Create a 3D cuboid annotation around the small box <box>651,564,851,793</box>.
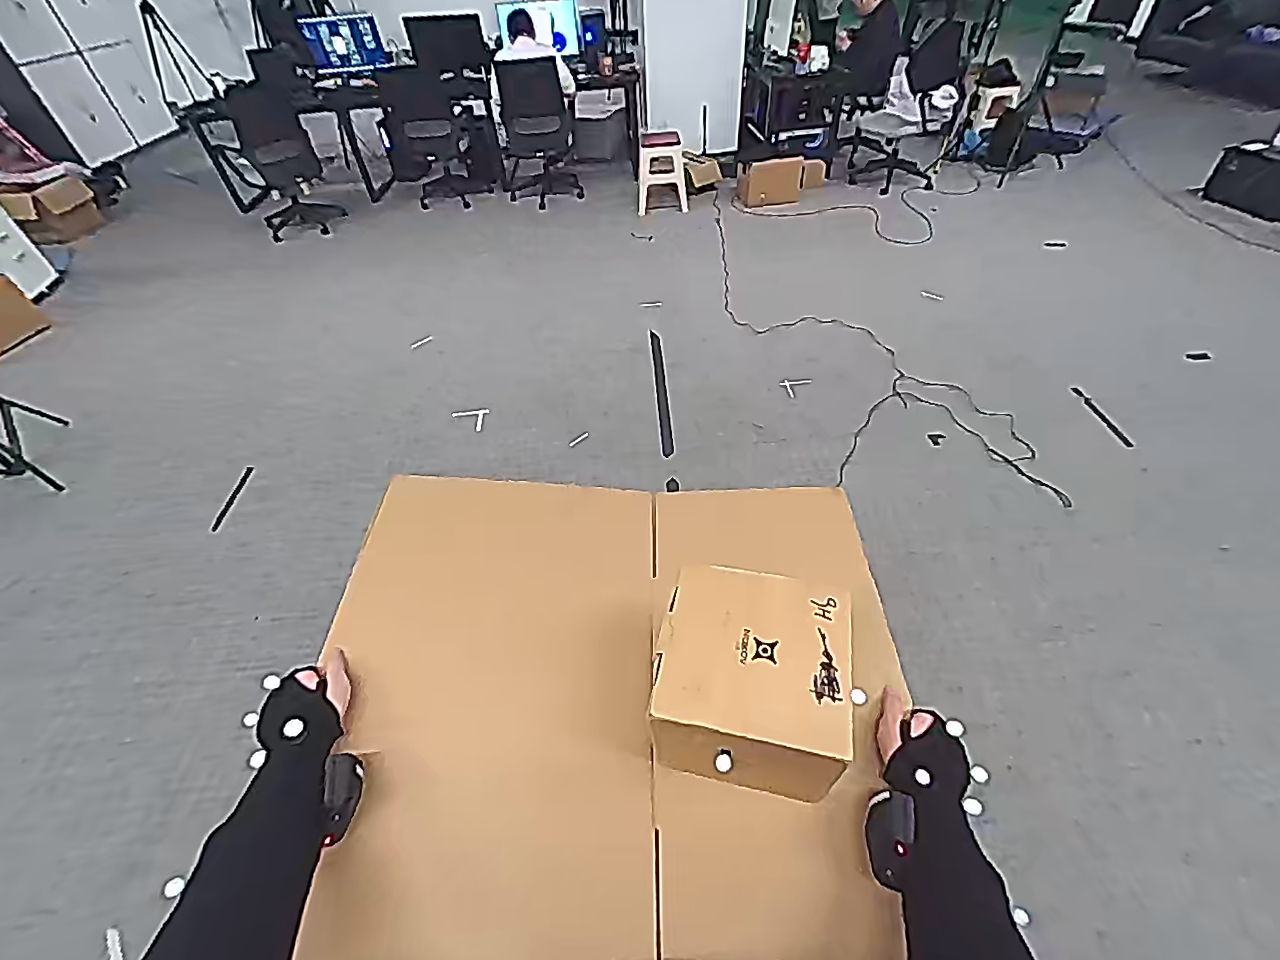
[{"bbox_3d":[0.121,0.214,0.579,0.179,0.176,0.168,7,50,13],"label":"small box"}]
